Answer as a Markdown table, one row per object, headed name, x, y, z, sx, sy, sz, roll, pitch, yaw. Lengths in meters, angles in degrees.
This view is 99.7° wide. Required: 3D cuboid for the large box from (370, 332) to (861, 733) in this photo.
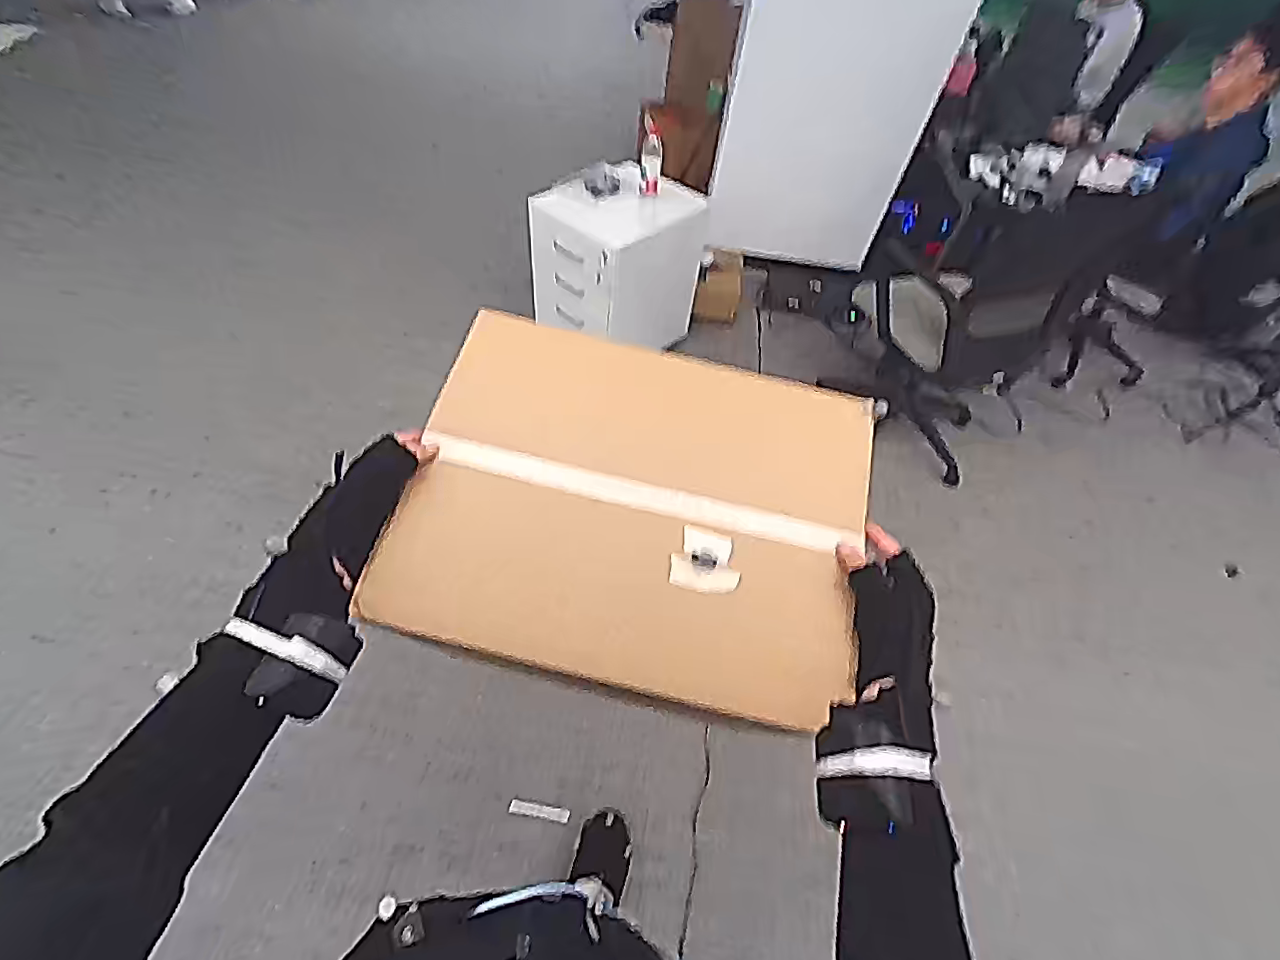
| name | x | y | z | sx | sy | sz | roll | pitch | yaw |
| --- | --- | --- | --- | --- | --- | --- | --- | --- | --- |
| large box | -0.012 | 0.084 | 0.632 | 0.408 | 0.320 | 0.320 | 14 | 67 | 0 |
